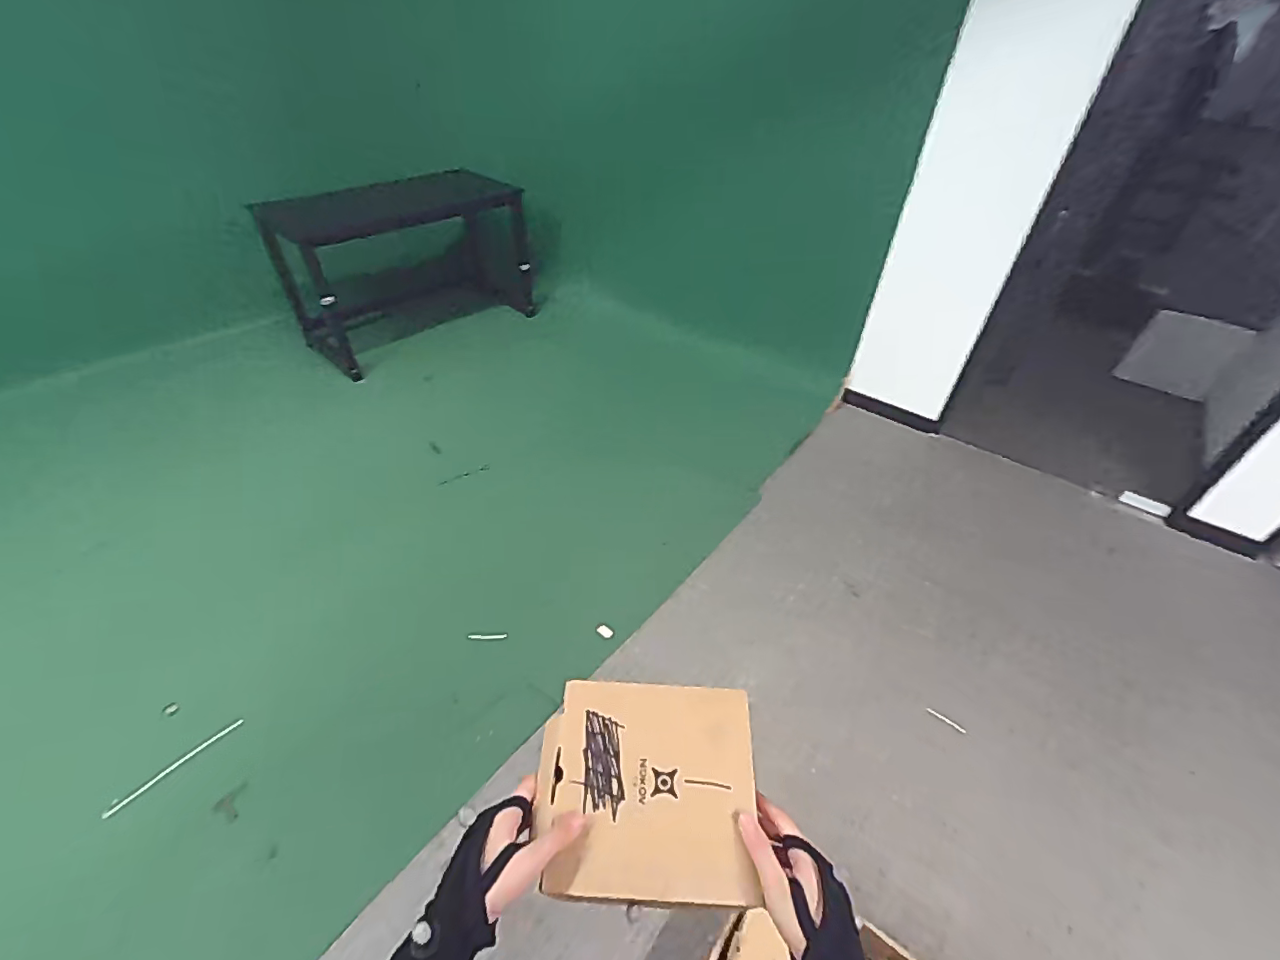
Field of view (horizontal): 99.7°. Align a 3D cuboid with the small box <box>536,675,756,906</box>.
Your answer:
[{"bbox_3d":[0.007,0.308,0.532,0.179,0.176,0.168,4,50,0],"label":"small box"}]
